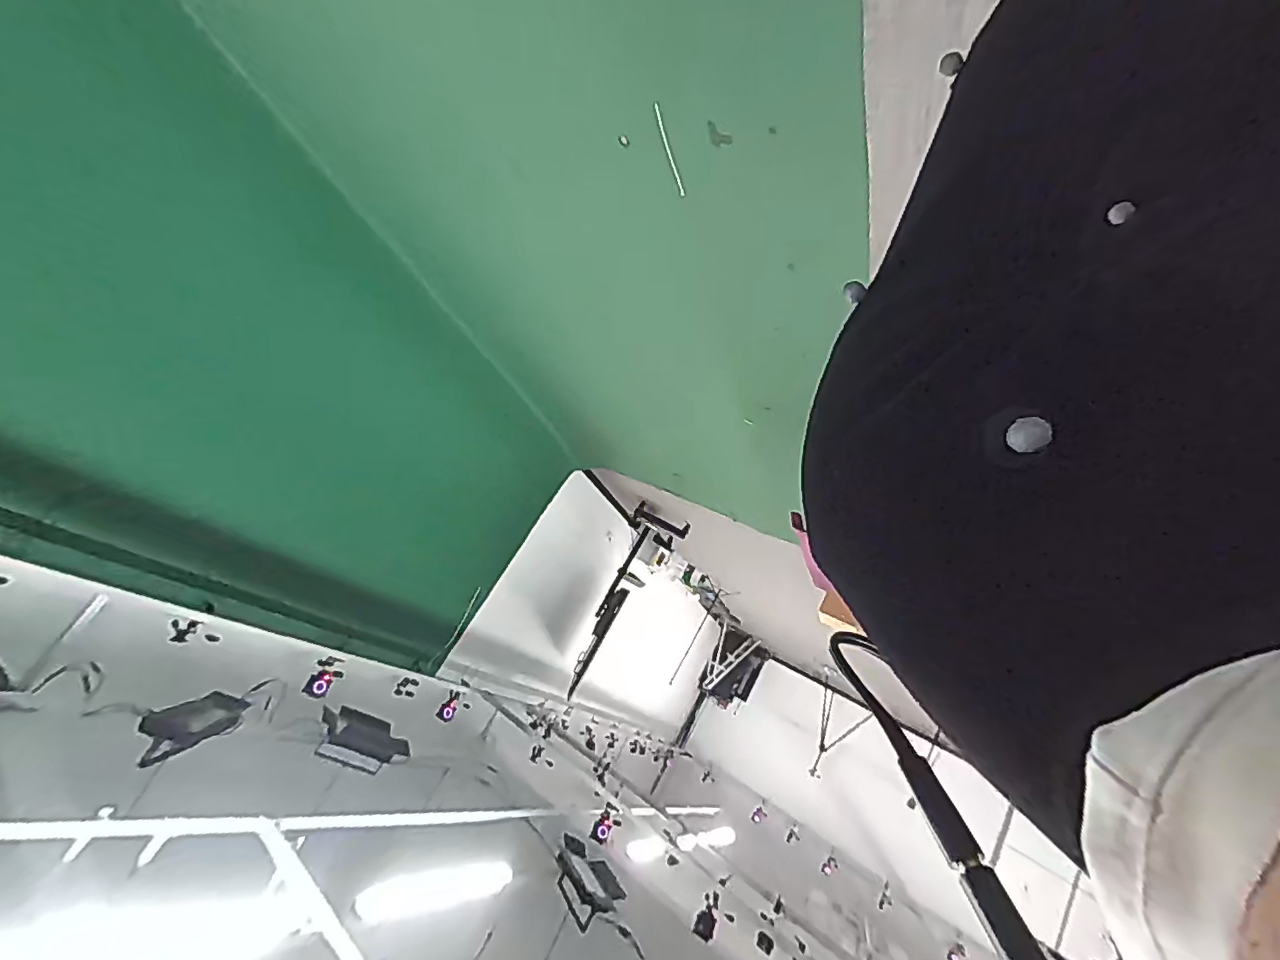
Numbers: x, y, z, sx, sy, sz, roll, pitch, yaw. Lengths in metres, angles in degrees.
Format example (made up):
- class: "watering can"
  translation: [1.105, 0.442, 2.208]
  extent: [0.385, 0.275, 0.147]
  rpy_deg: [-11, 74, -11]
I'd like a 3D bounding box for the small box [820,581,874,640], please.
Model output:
- class: "small box"
  translation: [0.895, 0.560, 2.330]
  extent: [0.168, 0.176, 0.179]
  rpy_deg: [21, 161, 31]
